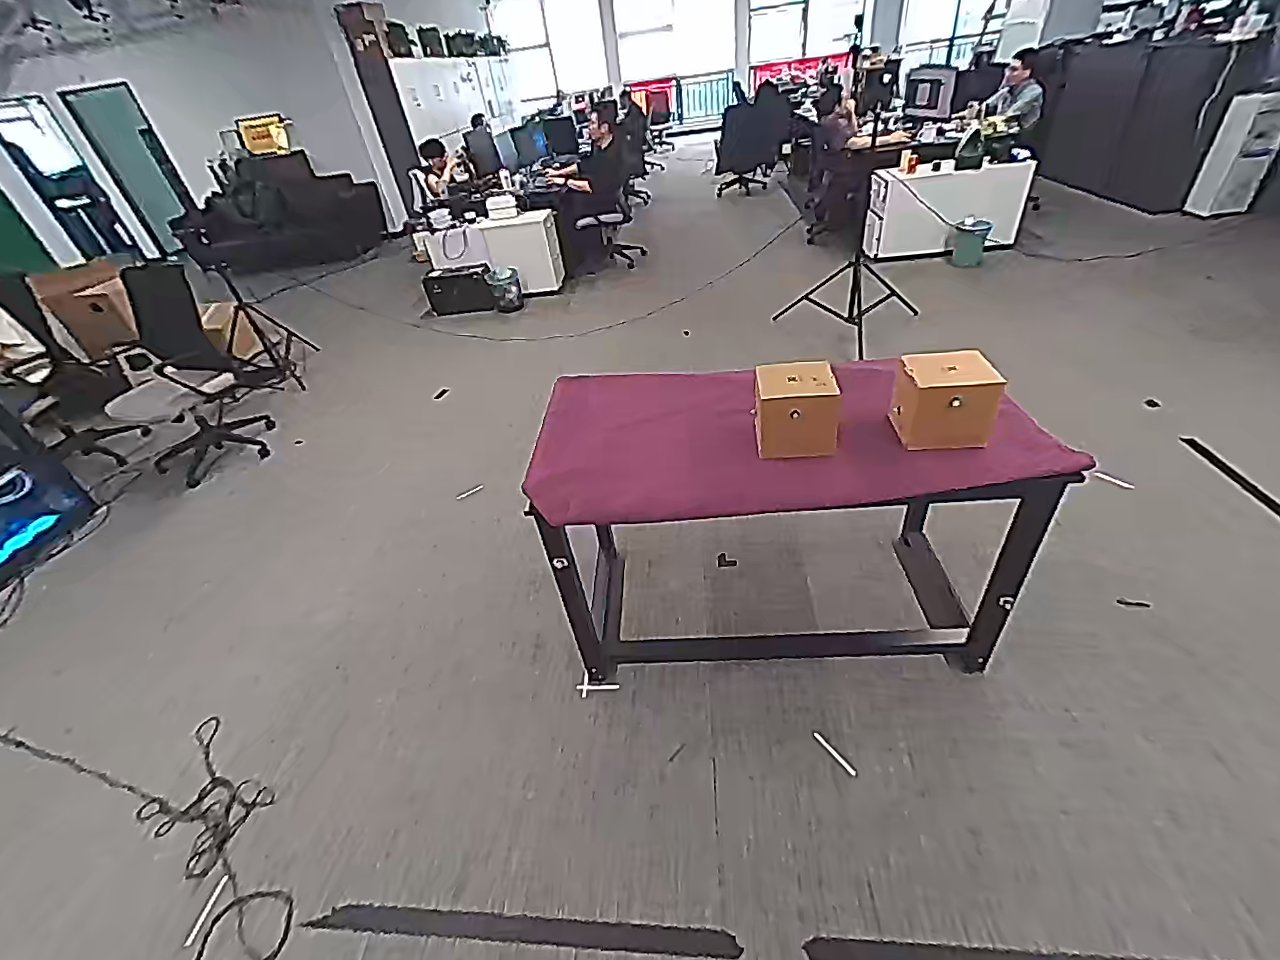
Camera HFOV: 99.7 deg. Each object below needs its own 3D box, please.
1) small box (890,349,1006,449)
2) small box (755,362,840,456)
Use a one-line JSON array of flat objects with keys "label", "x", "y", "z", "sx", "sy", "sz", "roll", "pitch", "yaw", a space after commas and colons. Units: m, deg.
[{"label": "small box", "x": 0.703, "y": -0.186, "z": 1.257, "sx": 0.179, "sy": 0.176, "sz": 0.168, "roll": -3, "pitch": 37, "yaw": 10}, {"label": "small box", "x": 0.371, "y": -0.168, "z": 1.301, "sx": 0.179, "sy": 0.176, "sz": 0.168, "roll": -2, "pitch": 38, "yaw": 9}]
